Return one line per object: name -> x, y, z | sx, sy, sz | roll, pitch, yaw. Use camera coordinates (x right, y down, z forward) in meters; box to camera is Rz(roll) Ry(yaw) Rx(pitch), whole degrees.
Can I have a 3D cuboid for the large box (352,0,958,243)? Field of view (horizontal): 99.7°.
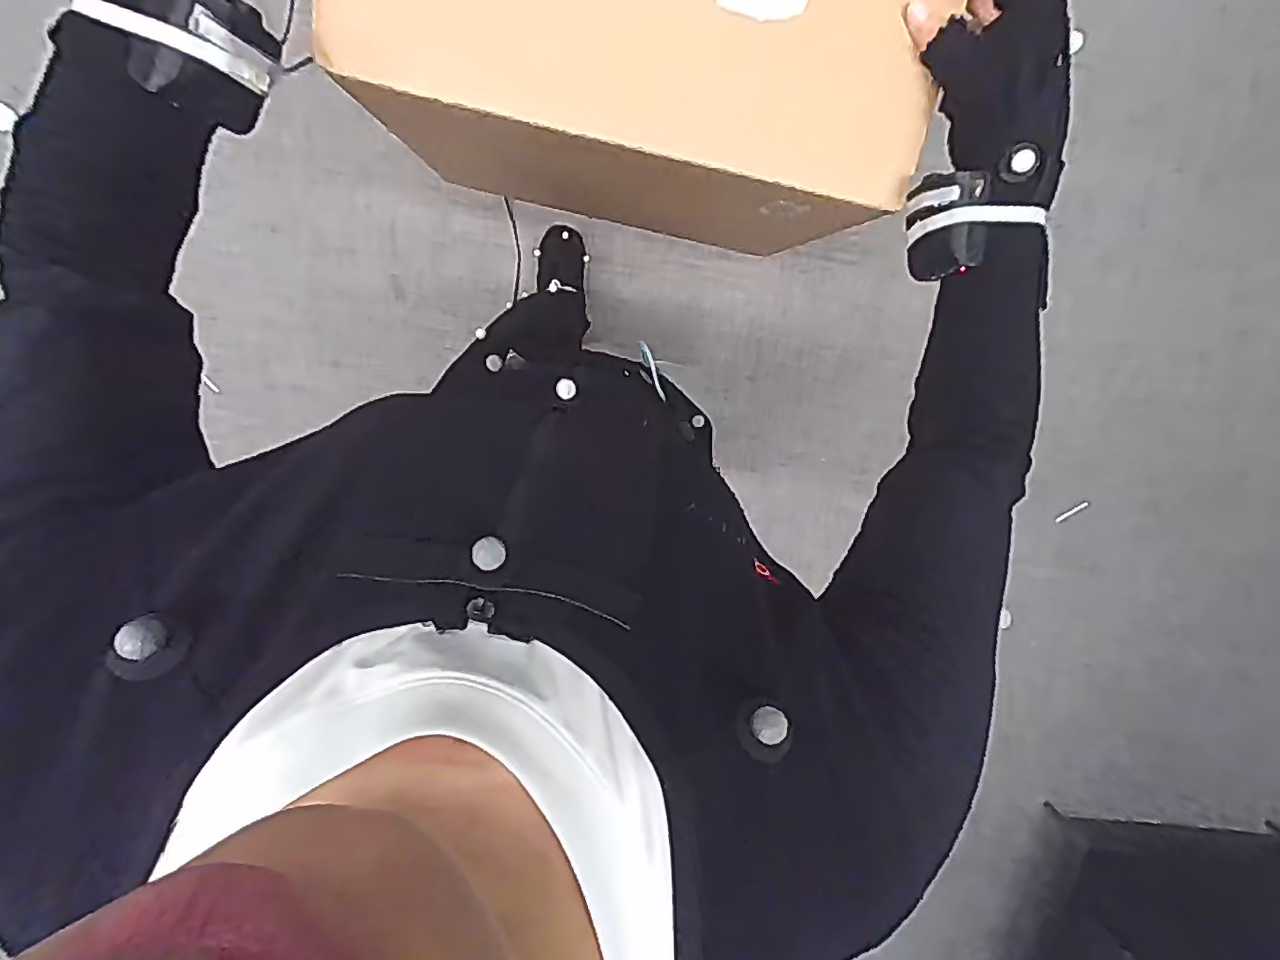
large box -> 0.015, -0.428, 0.480 | 0.408, 0.320, 0.320 | 9, 107, -9
